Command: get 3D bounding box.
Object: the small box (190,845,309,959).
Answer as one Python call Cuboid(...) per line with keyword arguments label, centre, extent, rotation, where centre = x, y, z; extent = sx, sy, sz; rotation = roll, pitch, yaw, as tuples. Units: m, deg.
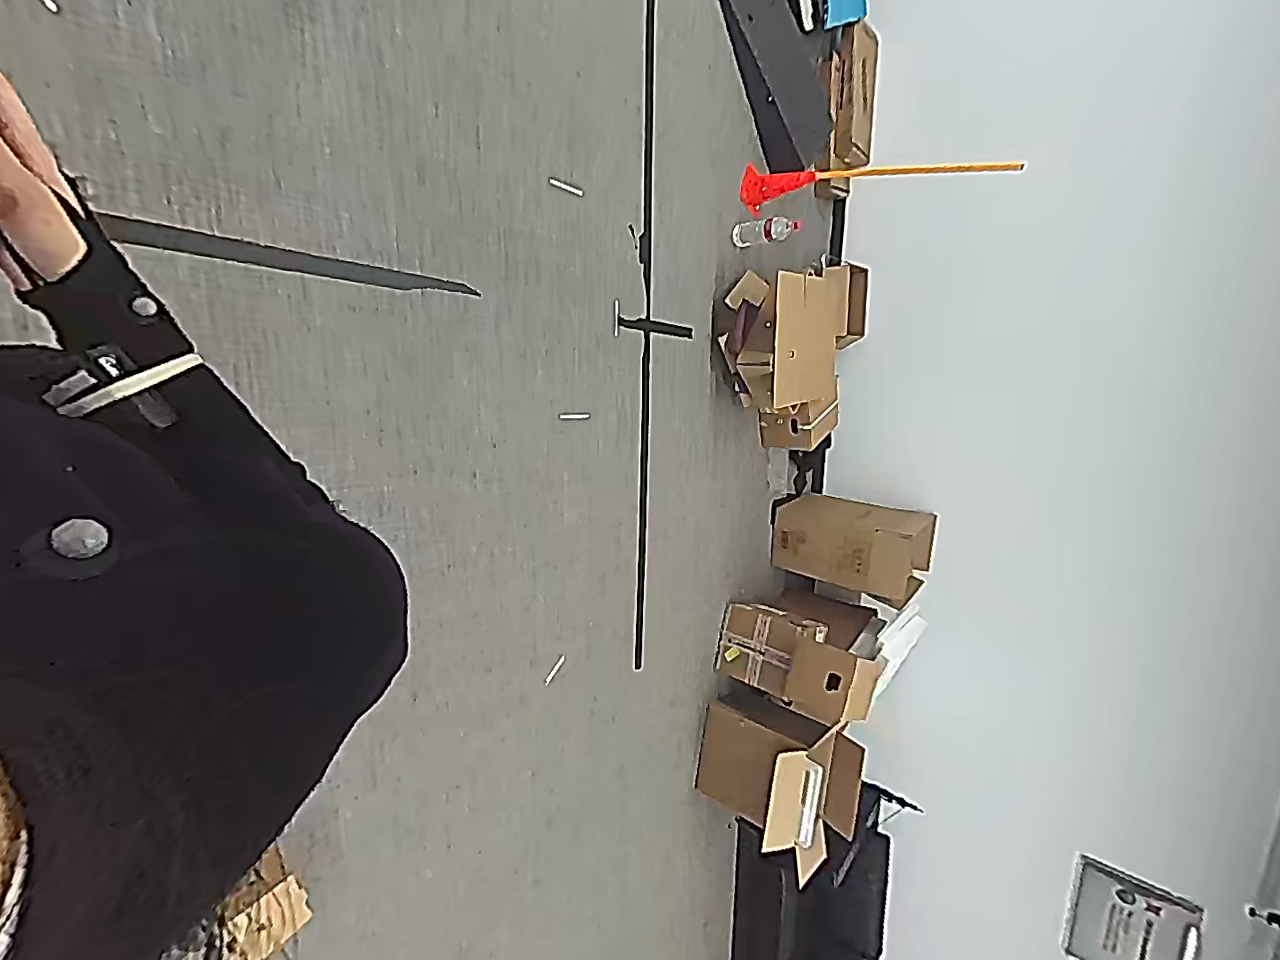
Cuboid(label="small box", centre=(-0.971, 1.067, 1.347), extent=(0.179, 0.176, 0.168), rotation=(-28, 118, -46))
